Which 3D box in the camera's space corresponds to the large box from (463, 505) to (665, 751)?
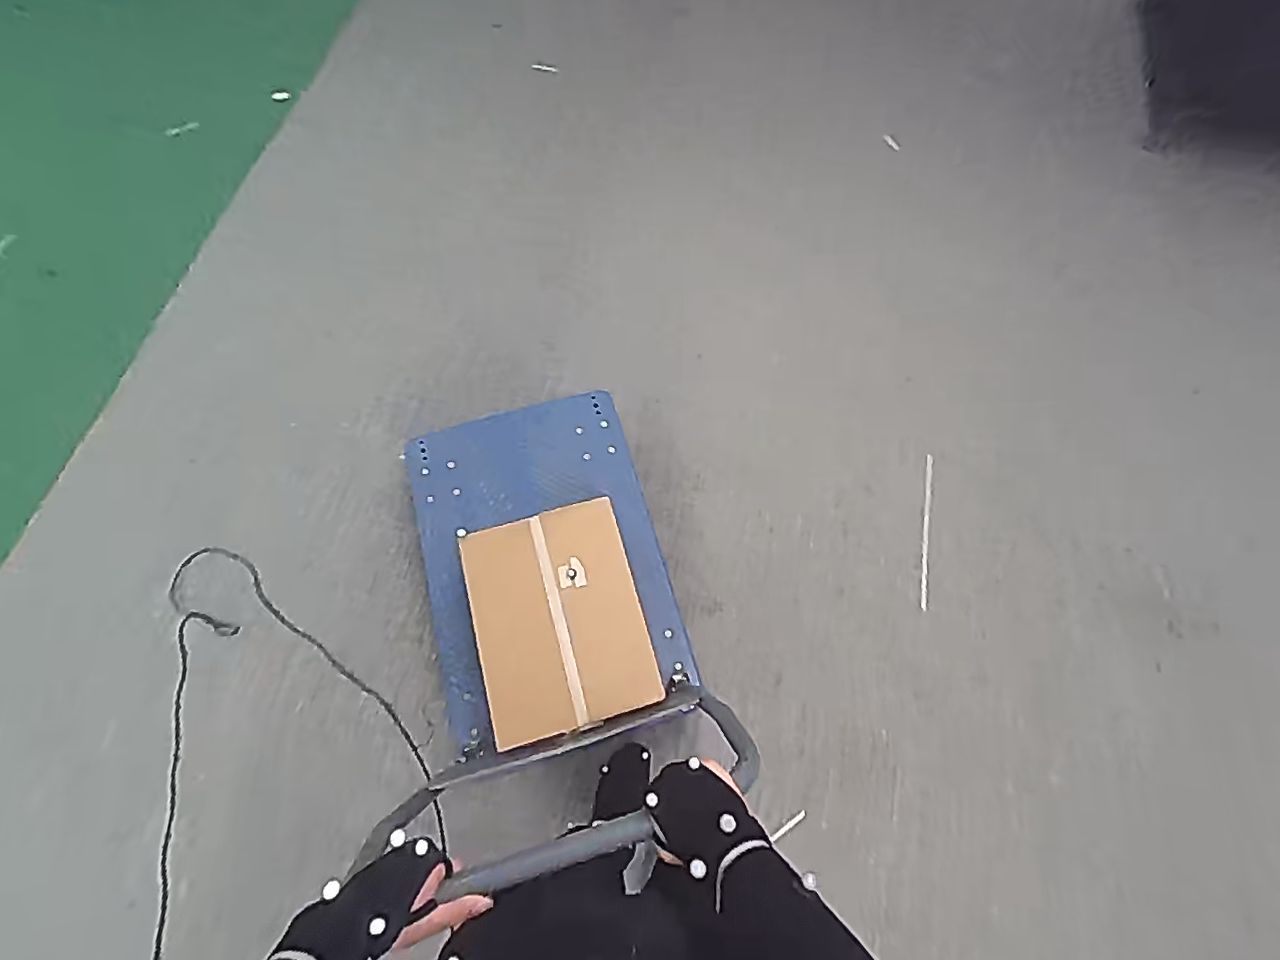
[{"bbox_3d":[-0.155,0.321,1.184,0.320,0.320,0.408,-15,70,-6],"label":"large box"}]
